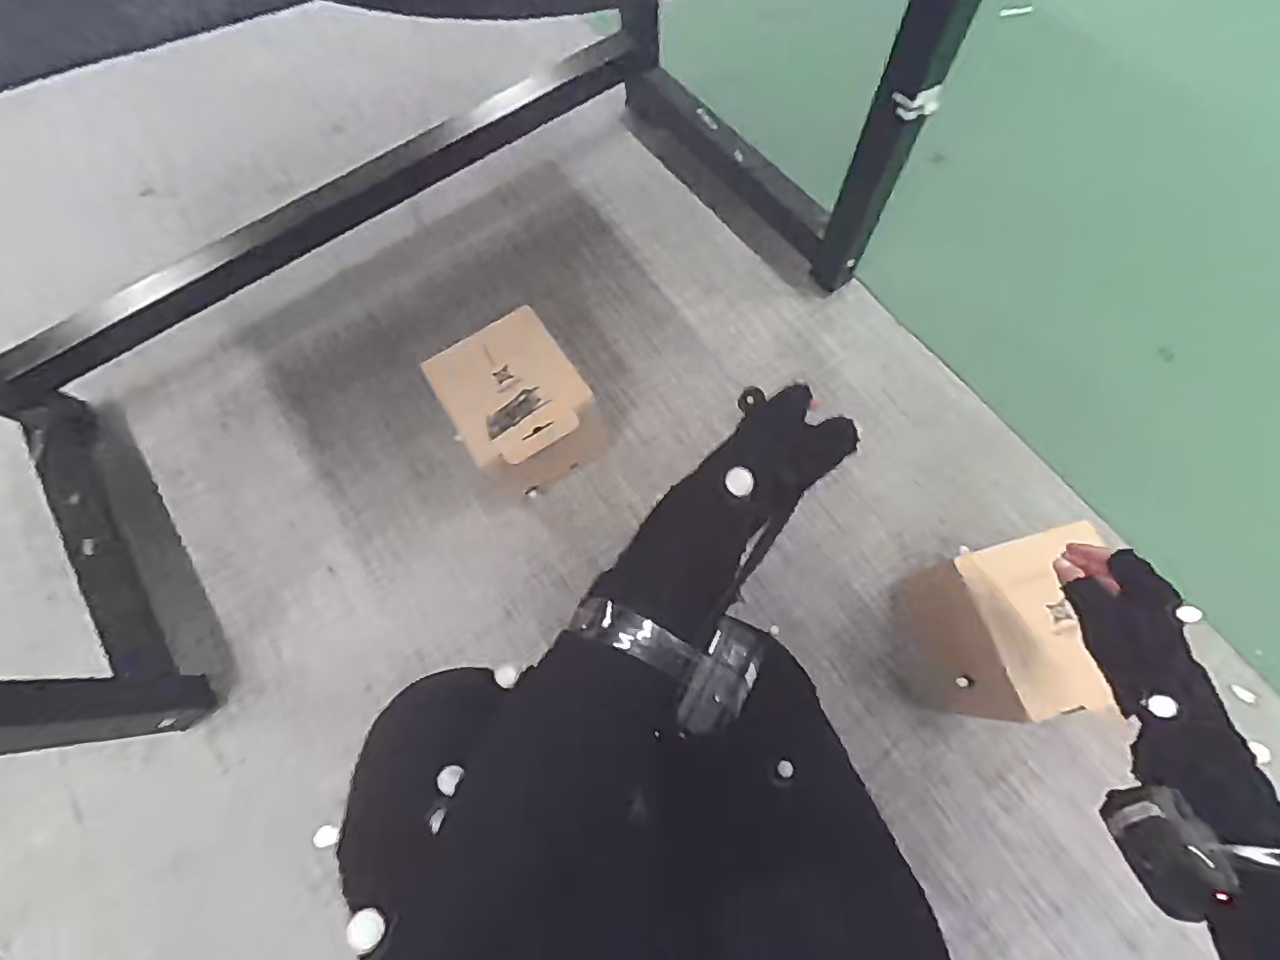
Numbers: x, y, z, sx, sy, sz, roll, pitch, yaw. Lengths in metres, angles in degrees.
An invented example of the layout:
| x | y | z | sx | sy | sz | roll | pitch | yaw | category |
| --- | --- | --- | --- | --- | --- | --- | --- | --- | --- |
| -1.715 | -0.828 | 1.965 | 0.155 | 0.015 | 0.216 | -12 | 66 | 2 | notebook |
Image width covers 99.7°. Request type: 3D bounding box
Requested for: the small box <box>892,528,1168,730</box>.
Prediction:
| x | y | z | sx | sy | sz | roll | pitch | yaw | category |
| --- | --- | --- | --- | --- | --- | --- | --- | --- | --- |
| 0.437 | 0.177 | 0.643 | 0.168 | 0.176 | 0.179 | -15 | 70 | -4 | small box |

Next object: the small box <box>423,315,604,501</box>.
| x | y | z | sx | sy | sz | roll | pitch | yaw | category |
| --- | --- | --- | --- | --- | --- | --- | --- | --- | --- |
| -0.166 | -0.088 | 0.764 | 0.168 | 0.176 | 0.179 | -32 | 71 | -8 | small box |
